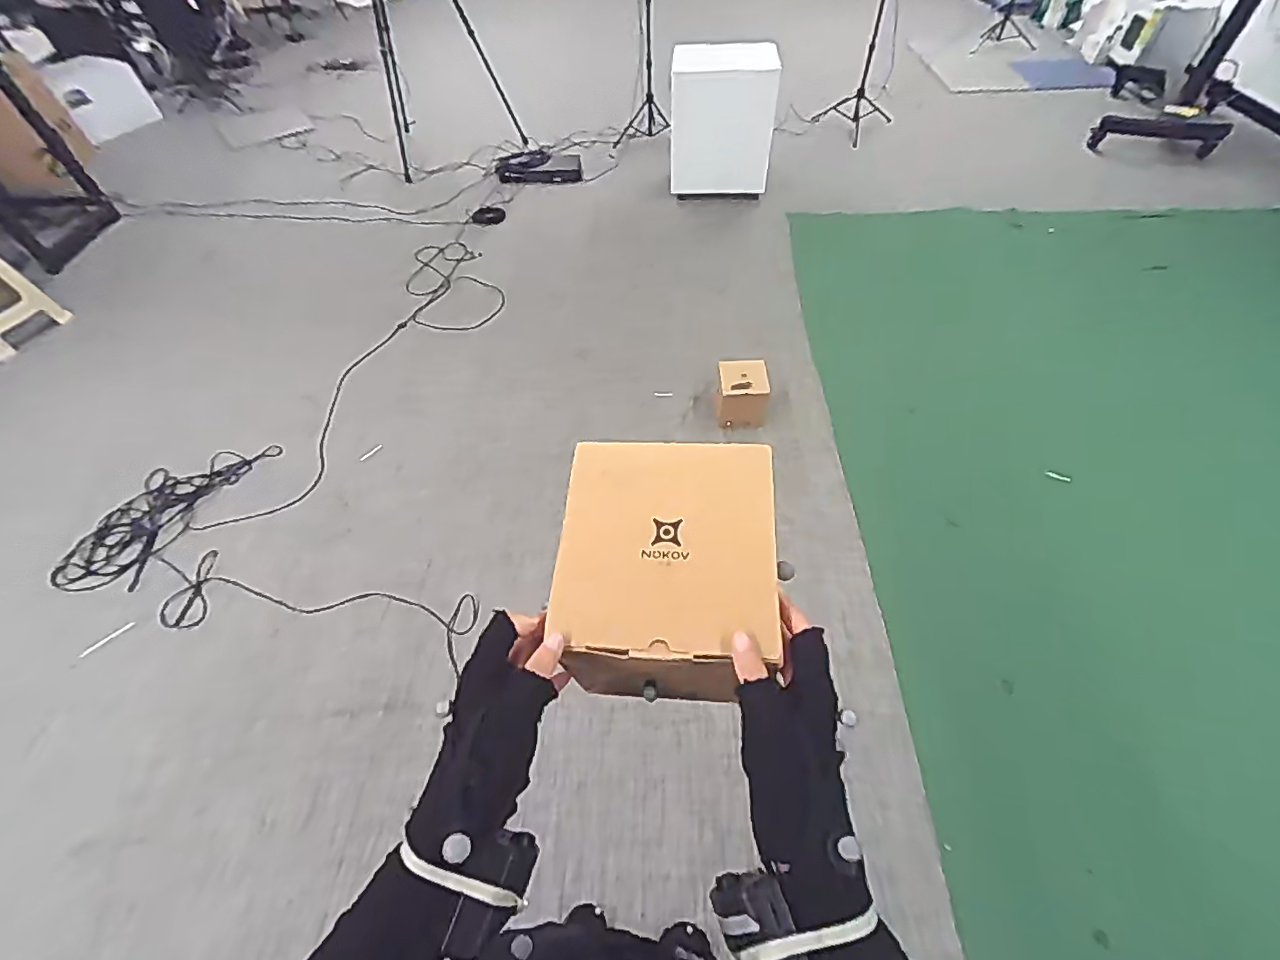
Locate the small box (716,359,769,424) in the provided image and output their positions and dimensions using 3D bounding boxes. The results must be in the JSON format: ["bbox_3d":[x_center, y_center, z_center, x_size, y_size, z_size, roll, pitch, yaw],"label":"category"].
[{"bbox_3d":[0.366,-0.314,1.955,0.168,0.176,0.179,-1,53,2],"label":"small box"}]
